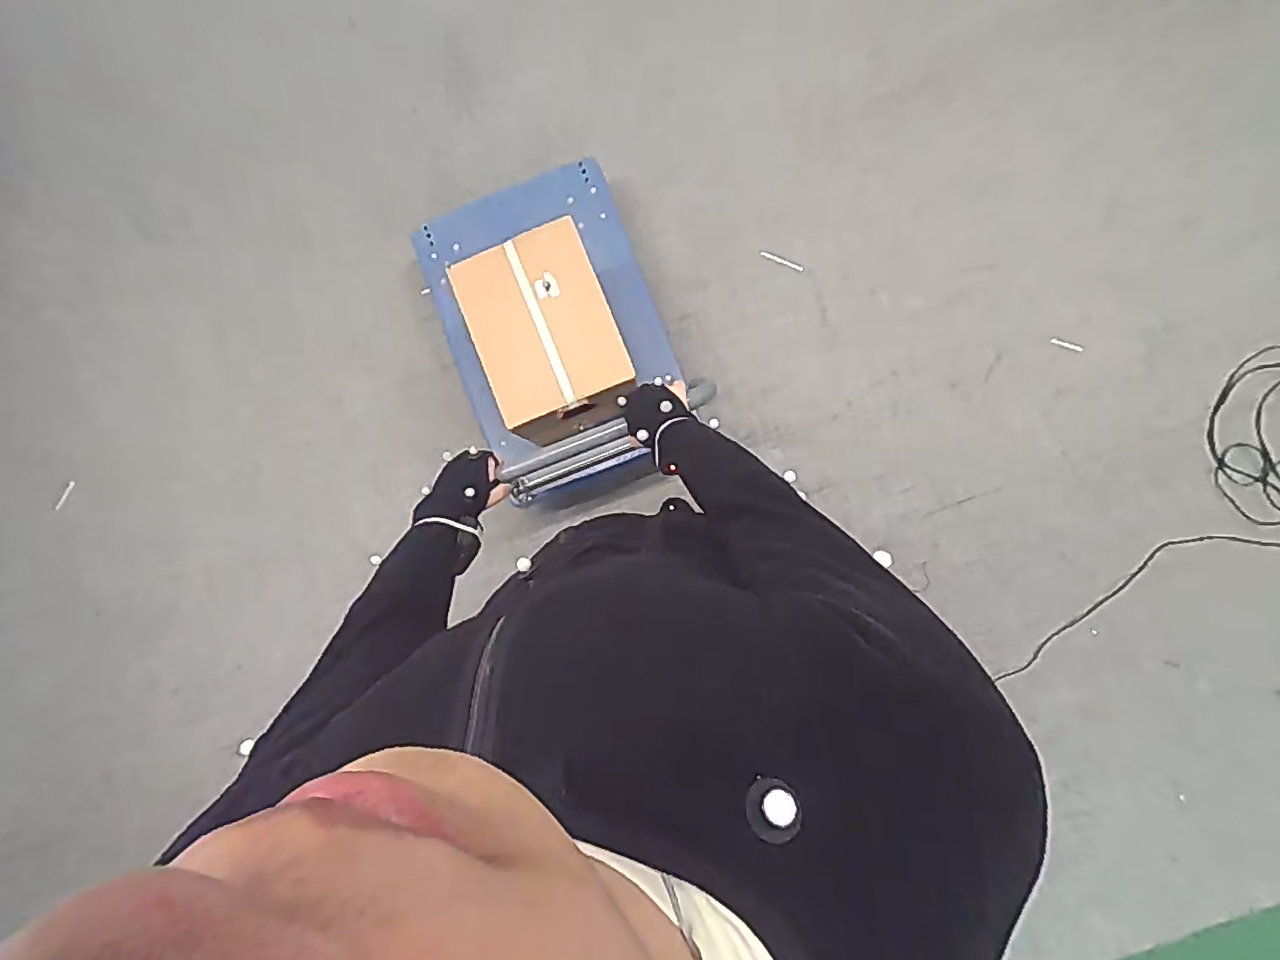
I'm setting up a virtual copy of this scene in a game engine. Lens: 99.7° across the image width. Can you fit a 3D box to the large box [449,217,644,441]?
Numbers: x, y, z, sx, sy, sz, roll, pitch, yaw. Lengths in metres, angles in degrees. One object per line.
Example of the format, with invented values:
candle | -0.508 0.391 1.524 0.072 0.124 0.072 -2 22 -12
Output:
large box | -0.212 -0.352 1.366 0.320 0.320 0.408 -22 86 2
